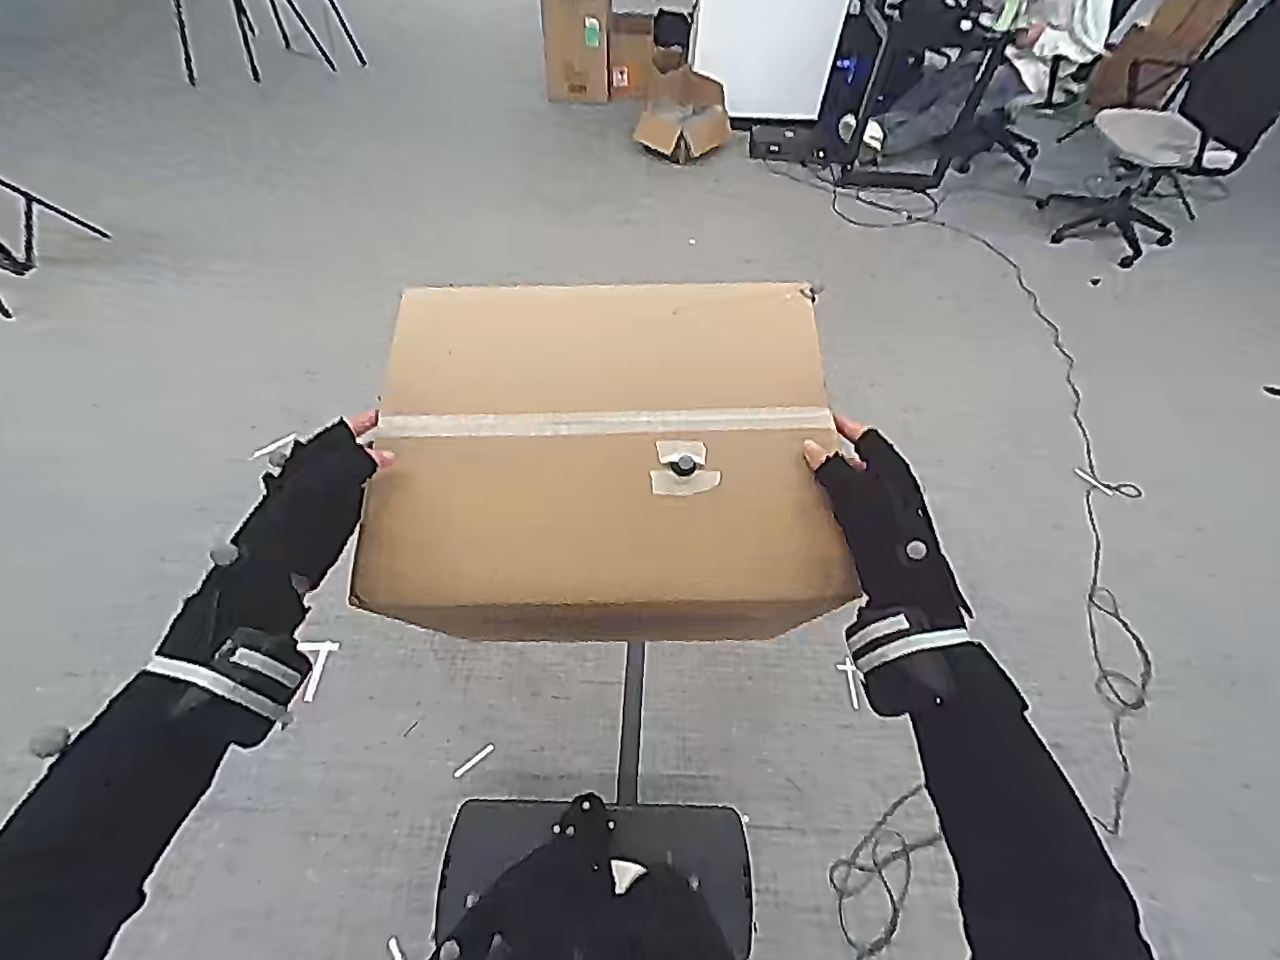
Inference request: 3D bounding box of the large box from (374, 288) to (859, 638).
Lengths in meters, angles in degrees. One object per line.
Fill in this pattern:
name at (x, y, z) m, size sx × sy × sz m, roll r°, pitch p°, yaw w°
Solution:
large box at (-0.024, 0.005, 0.630) m, size 0.408 × 0.320 × 0.320 m, roll 0°, pitch 69°, yaw -1°
